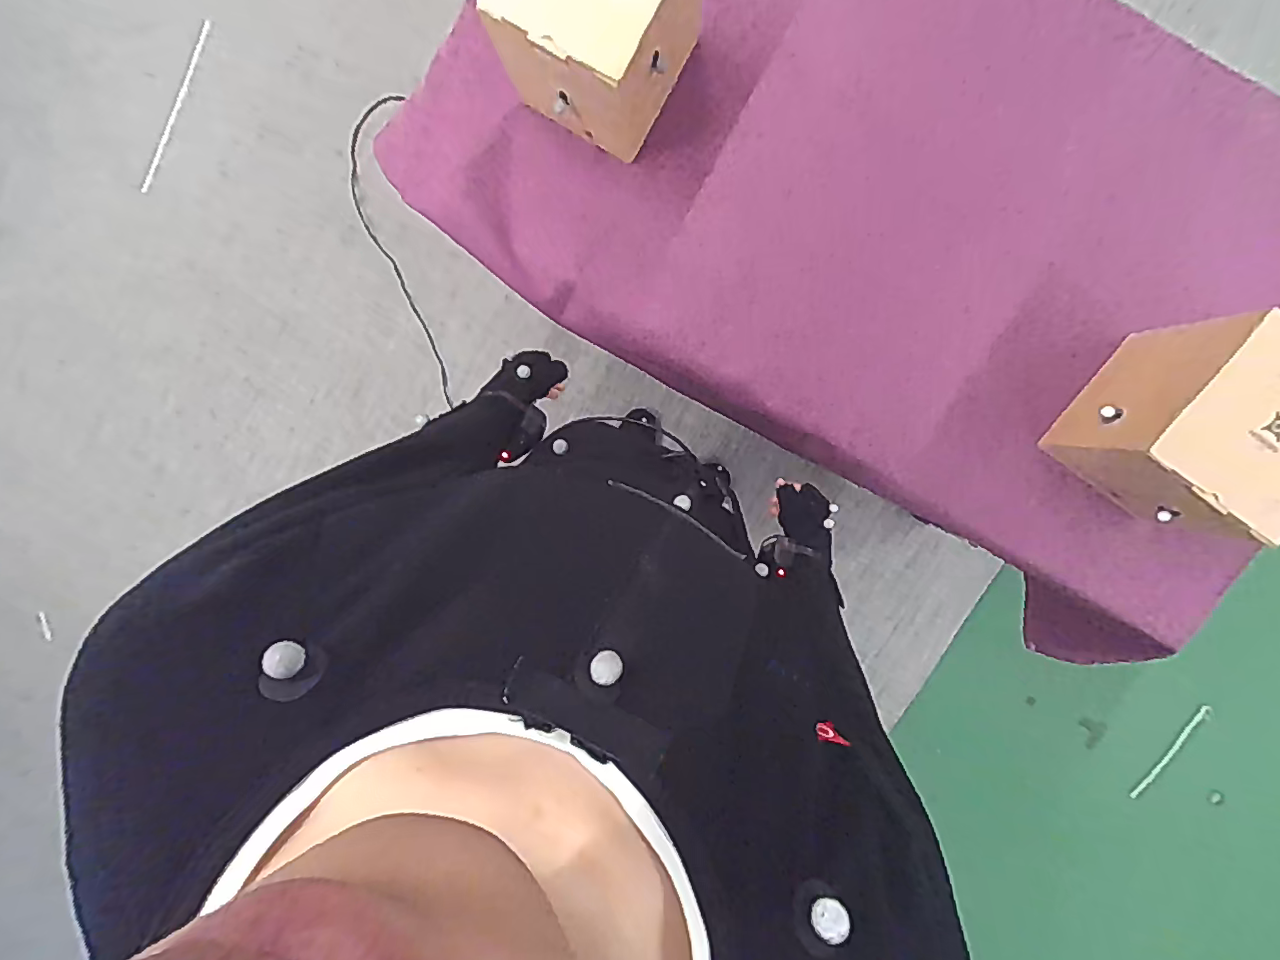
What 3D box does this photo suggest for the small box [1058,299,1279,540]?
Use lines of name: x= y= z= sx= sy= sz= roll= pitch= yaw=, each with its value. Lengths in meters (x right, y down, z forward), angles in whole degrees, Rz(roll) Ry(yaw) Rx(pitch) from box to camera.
small box: x=0.620 y=-0.064 z=0.598 sx=0.168 sy=0.176 sz=0.179 roll=37 pitch=98 yaw=-1

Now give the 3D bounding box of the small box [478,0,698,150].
small box: x=-0.042 y=-0.511 z=0.593 sx=0.168 sy=0.176 sz=0.179 roll=30 pitch=98 yaw=0
